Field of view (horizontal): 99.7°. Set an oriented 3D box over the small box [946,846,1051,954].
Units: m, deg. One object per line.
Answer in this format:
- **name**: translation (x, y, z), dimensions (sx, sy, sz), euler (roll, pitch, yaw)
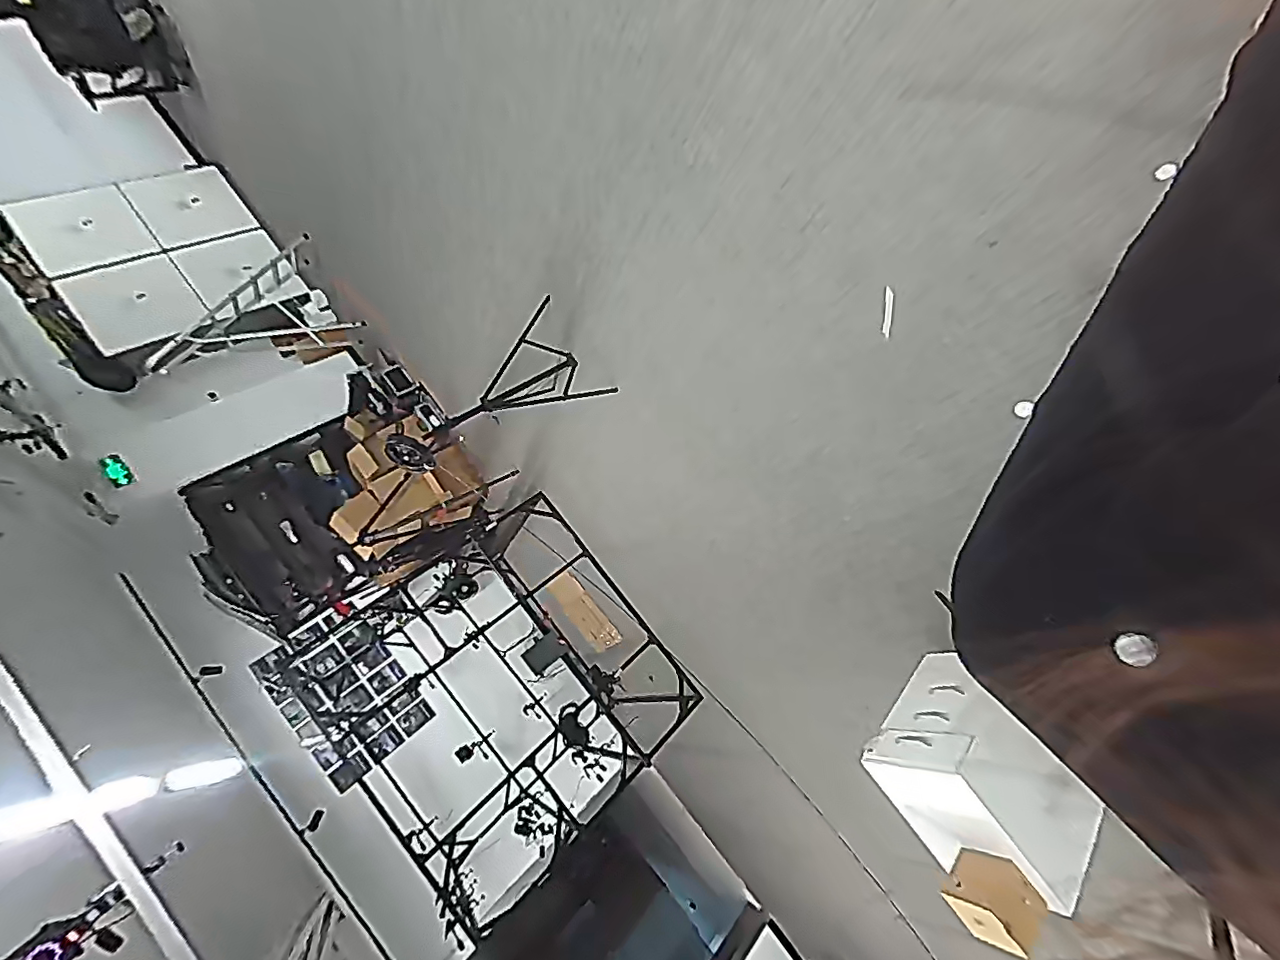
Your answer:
- **small box**: translation (1.077, 1.247, 1.624), dimensions (0.168, 0.176, 0.179), euler (52, 151, 4)
